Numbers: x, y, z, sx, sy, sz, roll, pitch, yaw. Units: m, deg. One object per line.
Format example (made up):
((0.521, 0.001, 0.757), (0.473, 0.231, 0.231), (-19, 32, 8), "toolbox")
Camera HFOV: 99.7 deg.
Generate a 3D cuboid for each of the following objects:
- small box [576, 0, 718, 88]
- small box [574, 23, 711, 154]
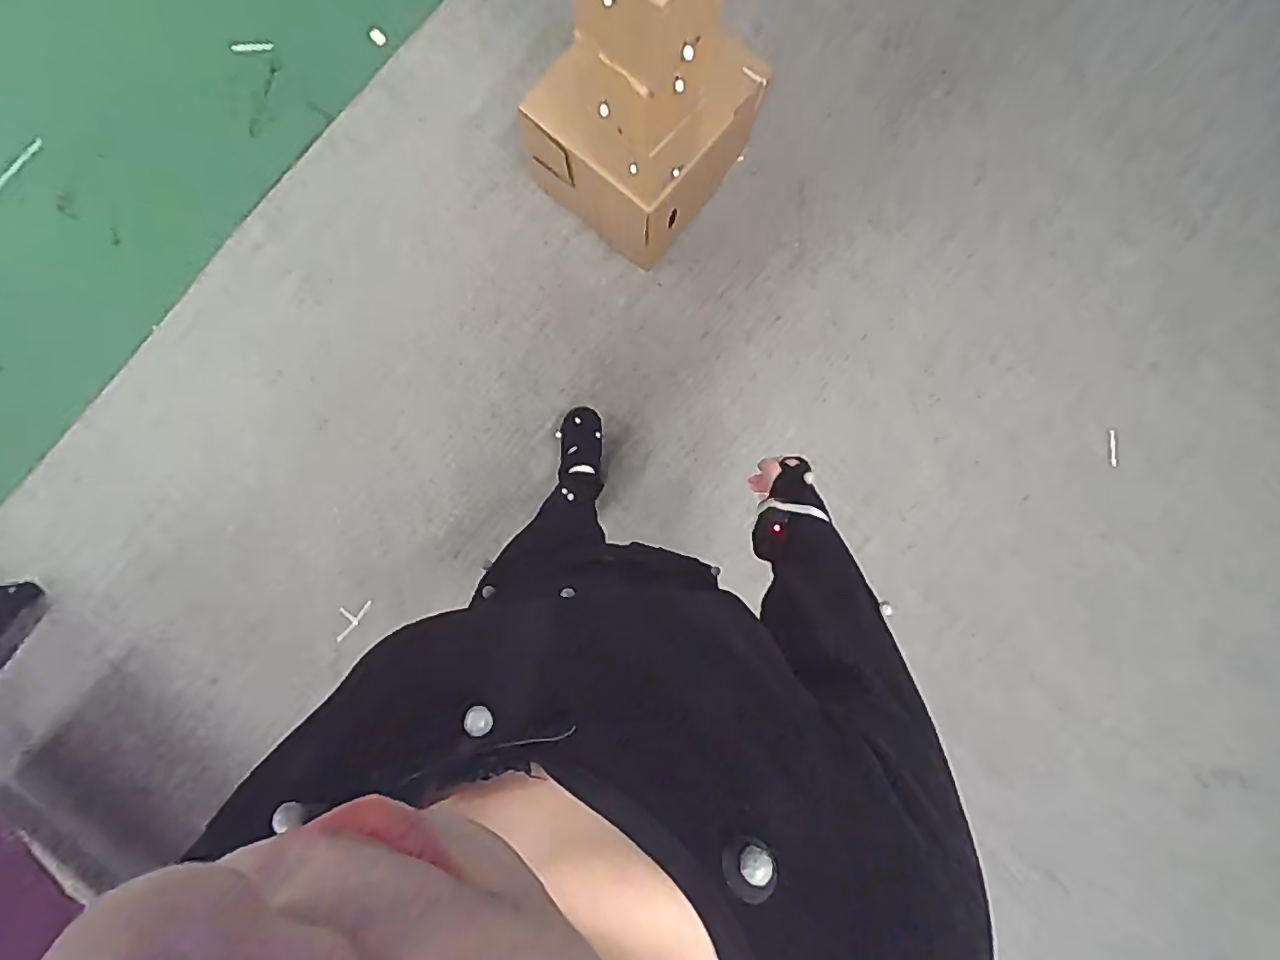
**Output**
((0.009, -0.759, 0.823), (0.179, 0.176, 0.168), (40, 89, 1), "small box")
((0.002, -0.754, 0.985), (0.168, 0.176, 0.179), (44, 88, 2), "small box")
